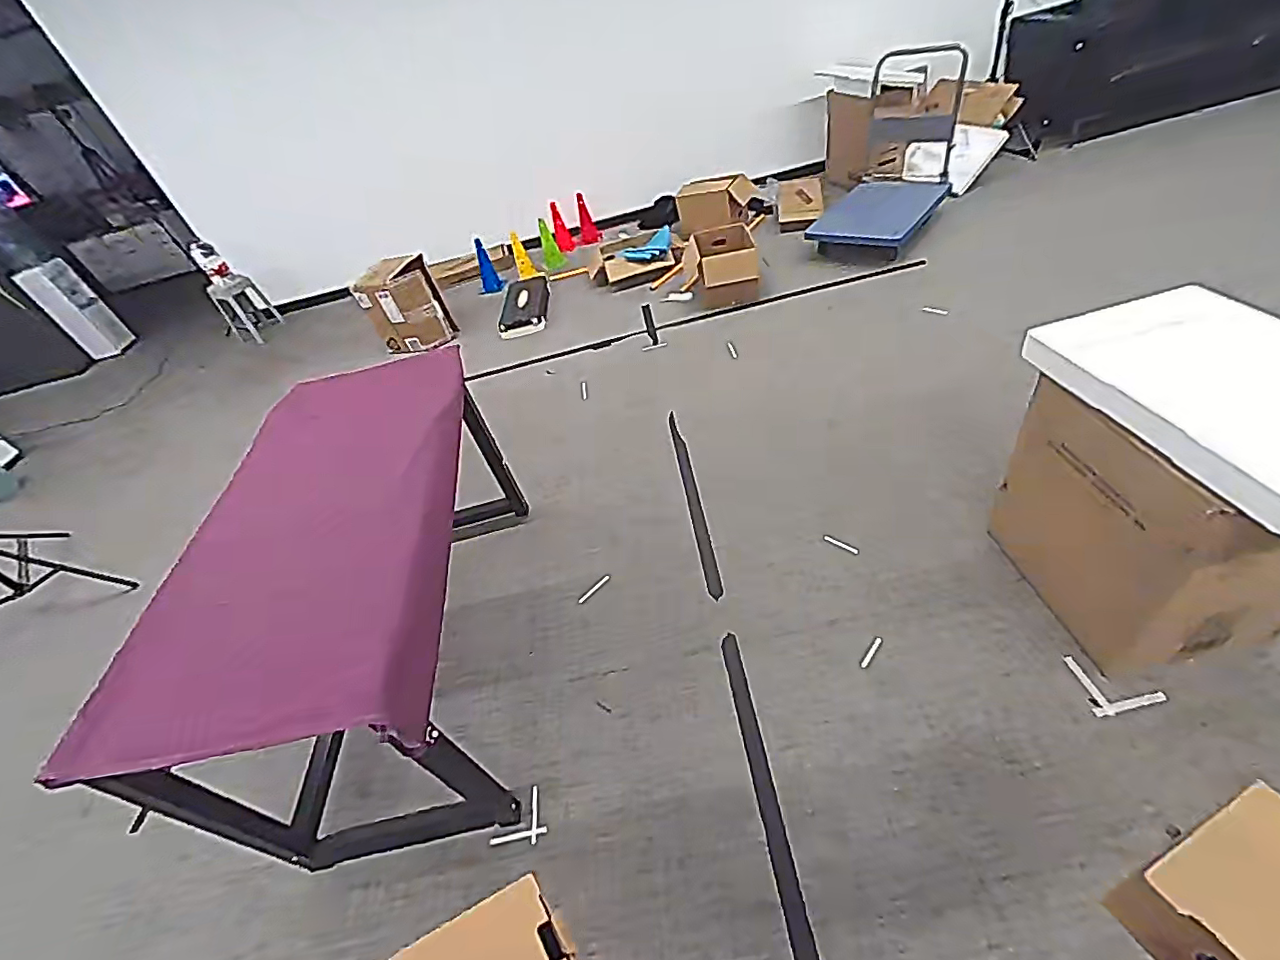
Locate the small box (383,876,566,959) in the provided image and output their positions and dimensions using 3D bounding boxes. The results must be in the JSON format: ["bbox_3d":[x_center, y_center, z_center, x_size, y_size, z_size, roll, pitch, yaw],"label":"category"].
[{"bbox_3d":[-0.172,0.608,0.600,0.179,0.176,0.168,-10,29,-32],"label":"small box"}]
